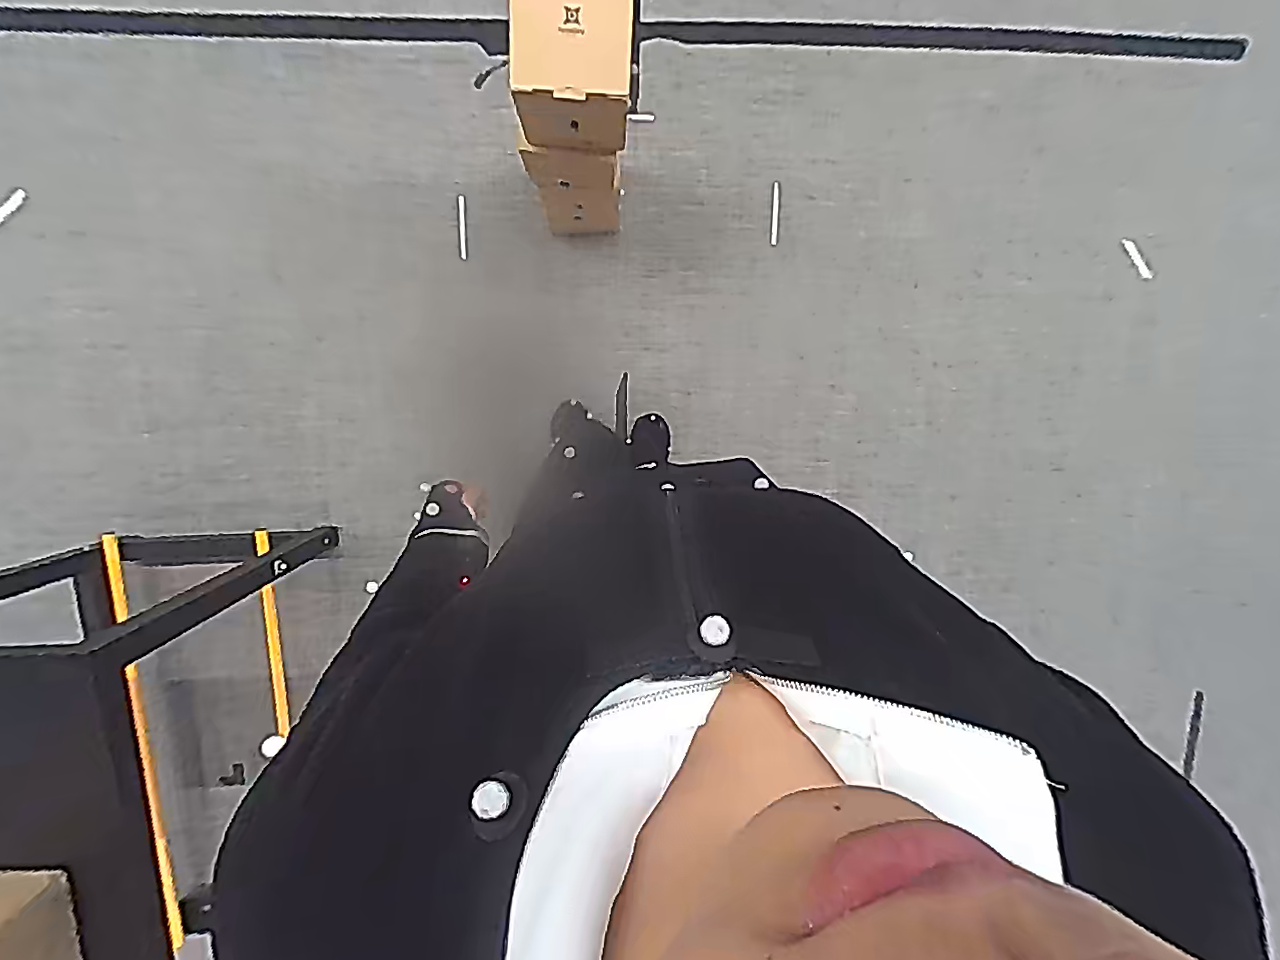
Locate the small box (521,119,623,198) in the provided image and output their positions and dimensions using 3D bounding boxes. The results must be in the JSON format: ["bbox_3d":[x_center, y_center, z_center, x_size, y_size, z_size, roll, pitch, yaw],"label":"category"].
[{"bbox_3d":[-0.112,-0.631,0.963,0.168,0.176,0.179,5,100,-3],"label":"small box"}]

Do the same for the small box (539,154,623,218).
[{"bbox_3d":[-0.120,-0.665,1.122,0.168,0.176,0.179,0,100,-3],"label":"small box"}]

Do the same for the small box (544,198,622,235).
[{"bbox_3d":[-0.135,-0.691,1.284,0.179,0.176,0.168,-4,100,-3],"label":"small box"}]

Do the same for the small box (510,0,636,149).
[{"bbox_3d":[-0.093,-0.619,0.800,0.168,0.176,0.179,2,100,-3],"label":"small box"}]
